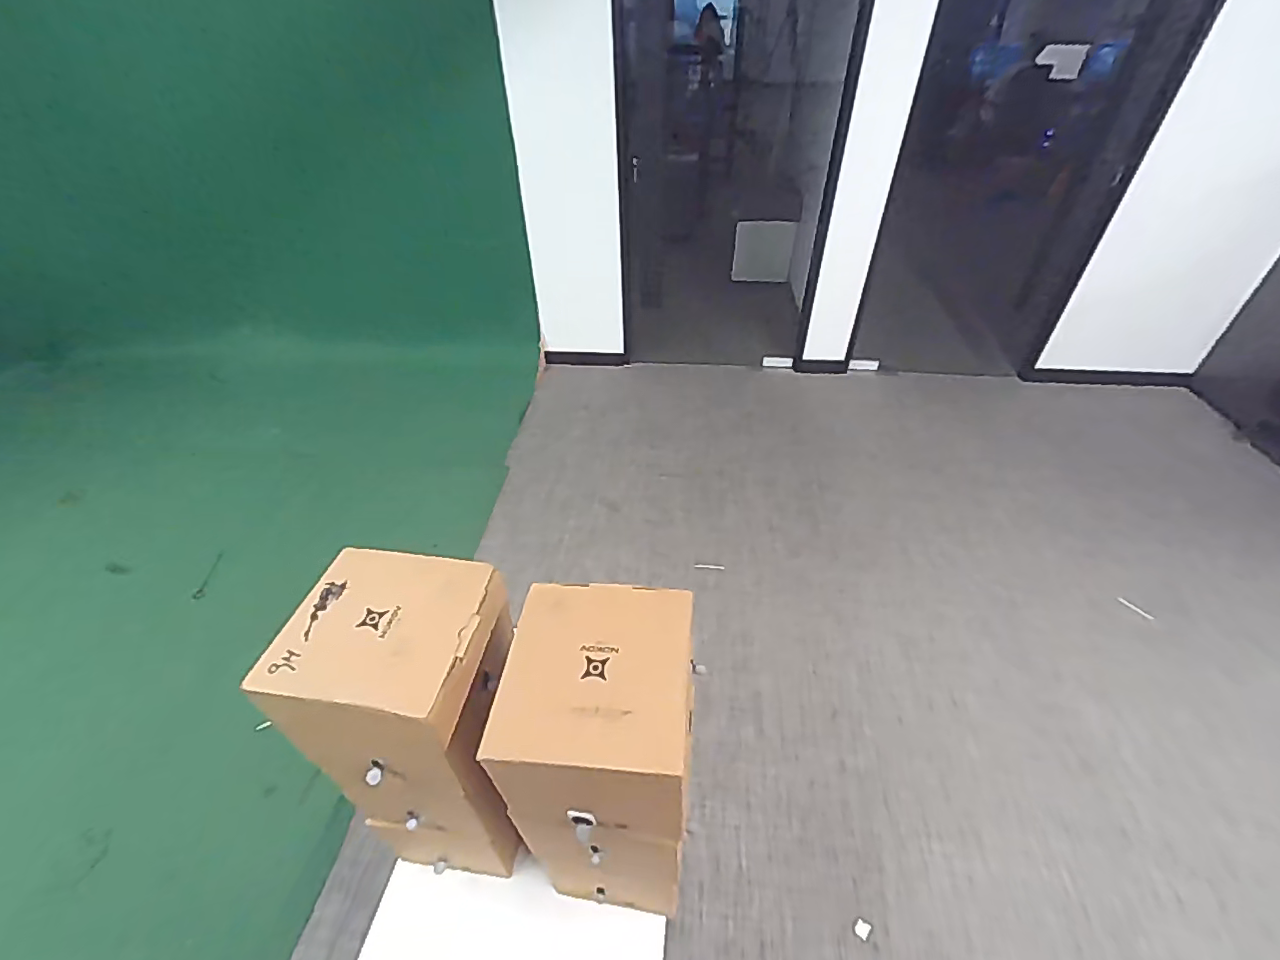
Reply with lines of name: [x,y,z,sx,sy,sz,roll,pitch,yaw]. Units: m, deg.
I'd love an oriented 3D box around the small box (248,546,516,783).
small box: [-0.243,0.195,0.569,0.179,0.176,0.168,7,42,6]

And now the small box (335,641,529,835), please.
small box: [-0.247,0.313,0.684,0.168,0.176,0.179,6,42,7]

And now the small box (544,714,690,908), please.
small box: [-0.023,0.462,0.759,0.168,0.176,0.179,5,42,8]

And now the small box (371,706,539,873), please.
small box: [-0.251,0.439,0.790,0.168,0.176,0.179,5,43,6]
